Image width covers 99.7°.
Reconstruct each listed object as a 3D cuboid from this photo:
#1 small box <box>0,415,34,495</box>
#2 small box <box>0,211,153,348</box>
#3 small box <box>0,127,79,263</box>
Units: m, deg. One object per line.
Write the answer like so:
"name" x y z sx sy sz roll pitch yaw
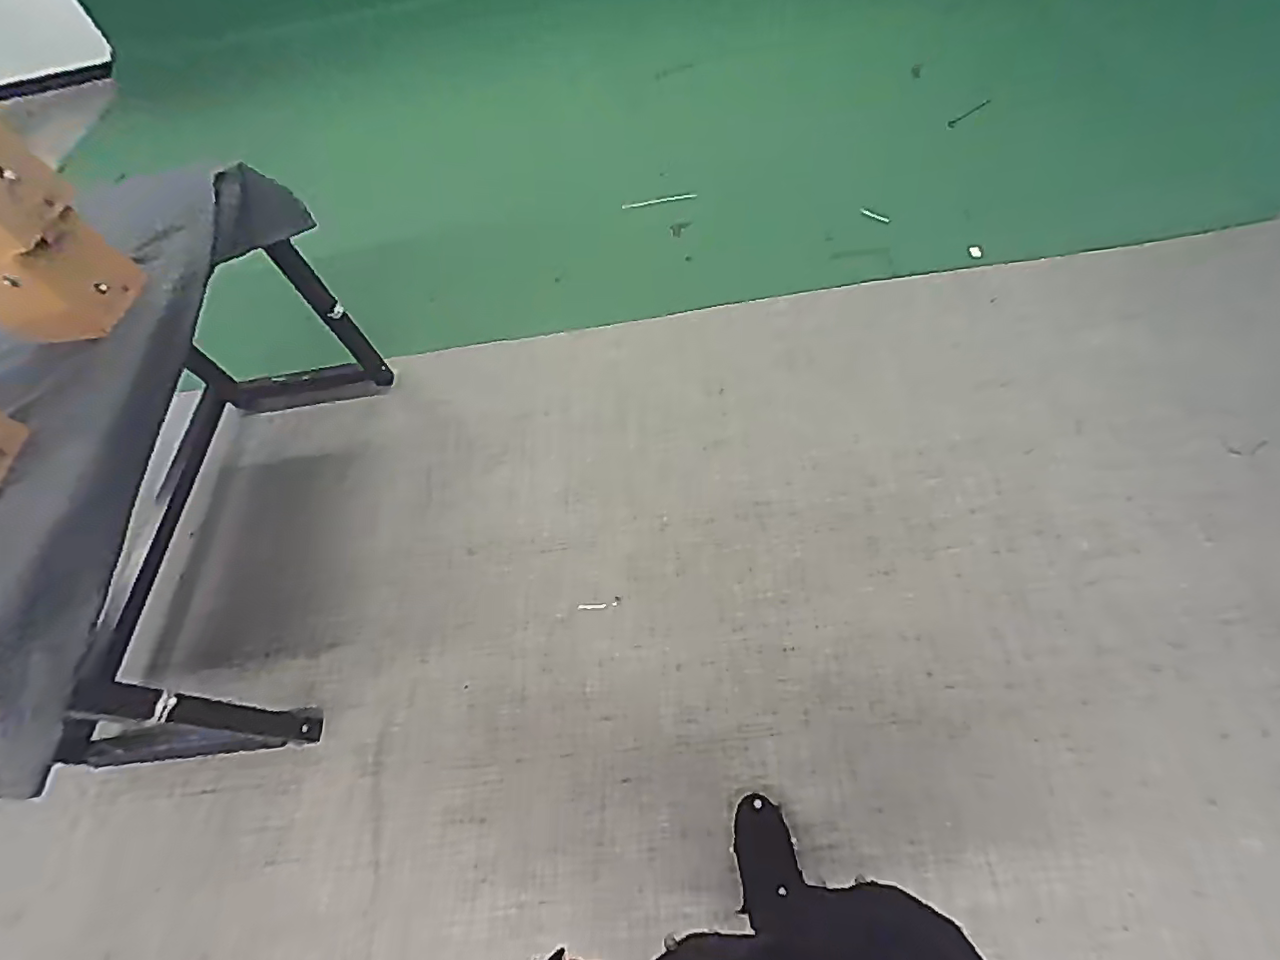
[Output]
"small box" -1.089 -0.036 0.794 0.179 0.176 0.168 -10 58 2
"small box" -1.071 -0.361 0.990 0.179 0.176 0.168 -5 58 6
"small box" -1.074 -0.459 0.857 0.179 0.176 0.168 -7 58 3
